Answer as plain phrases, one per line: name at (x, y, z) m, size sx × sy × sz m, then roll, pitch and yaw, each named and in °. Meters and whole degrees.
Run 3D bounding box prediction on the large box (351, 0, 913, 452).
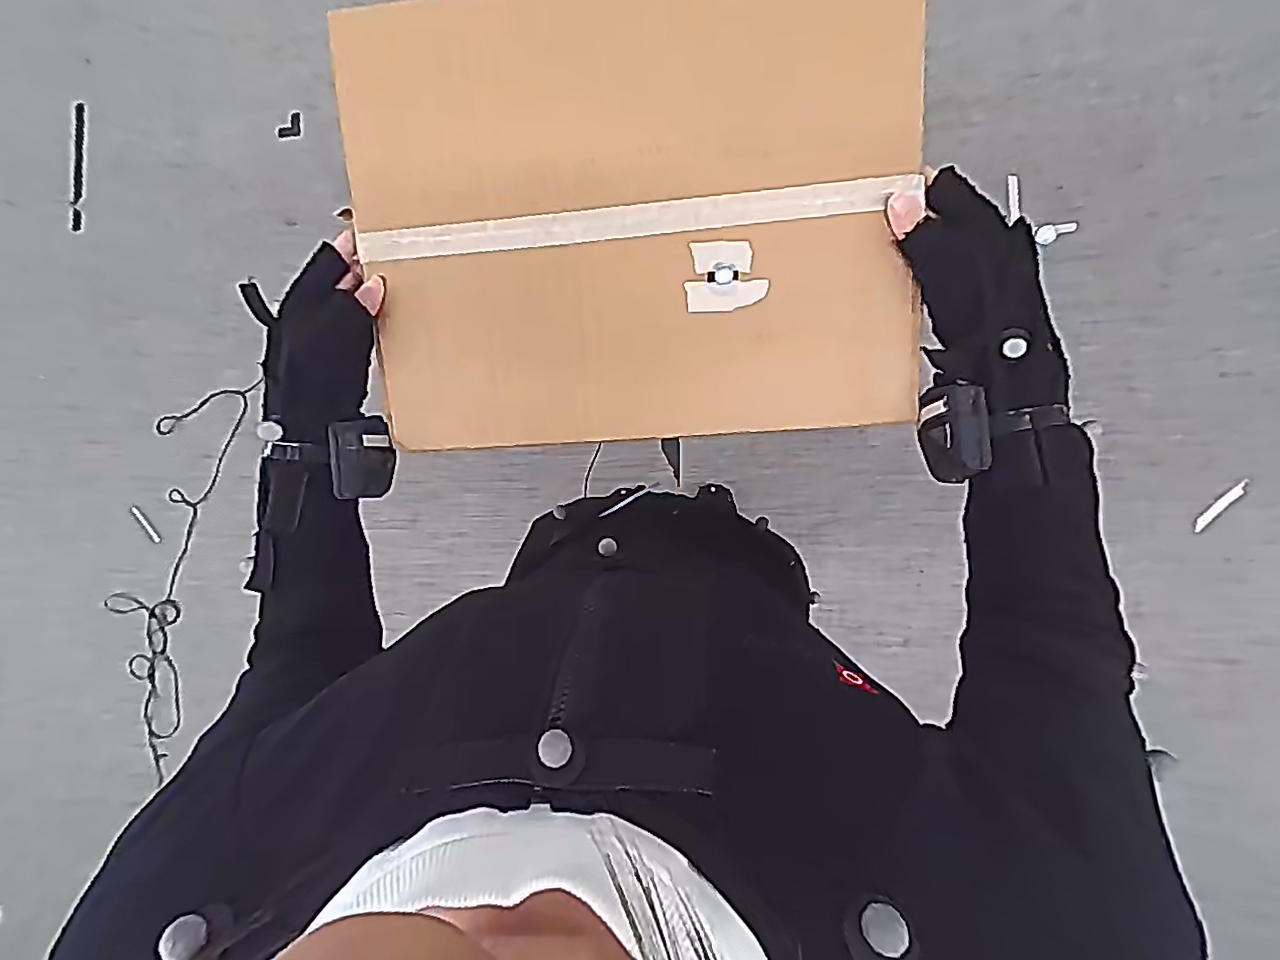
large box at (0.006, -0.213, 0.548) m, size 0.408 × 0.320 × 0.320 m, roll -4°, pitch 100°, yaw 5°
